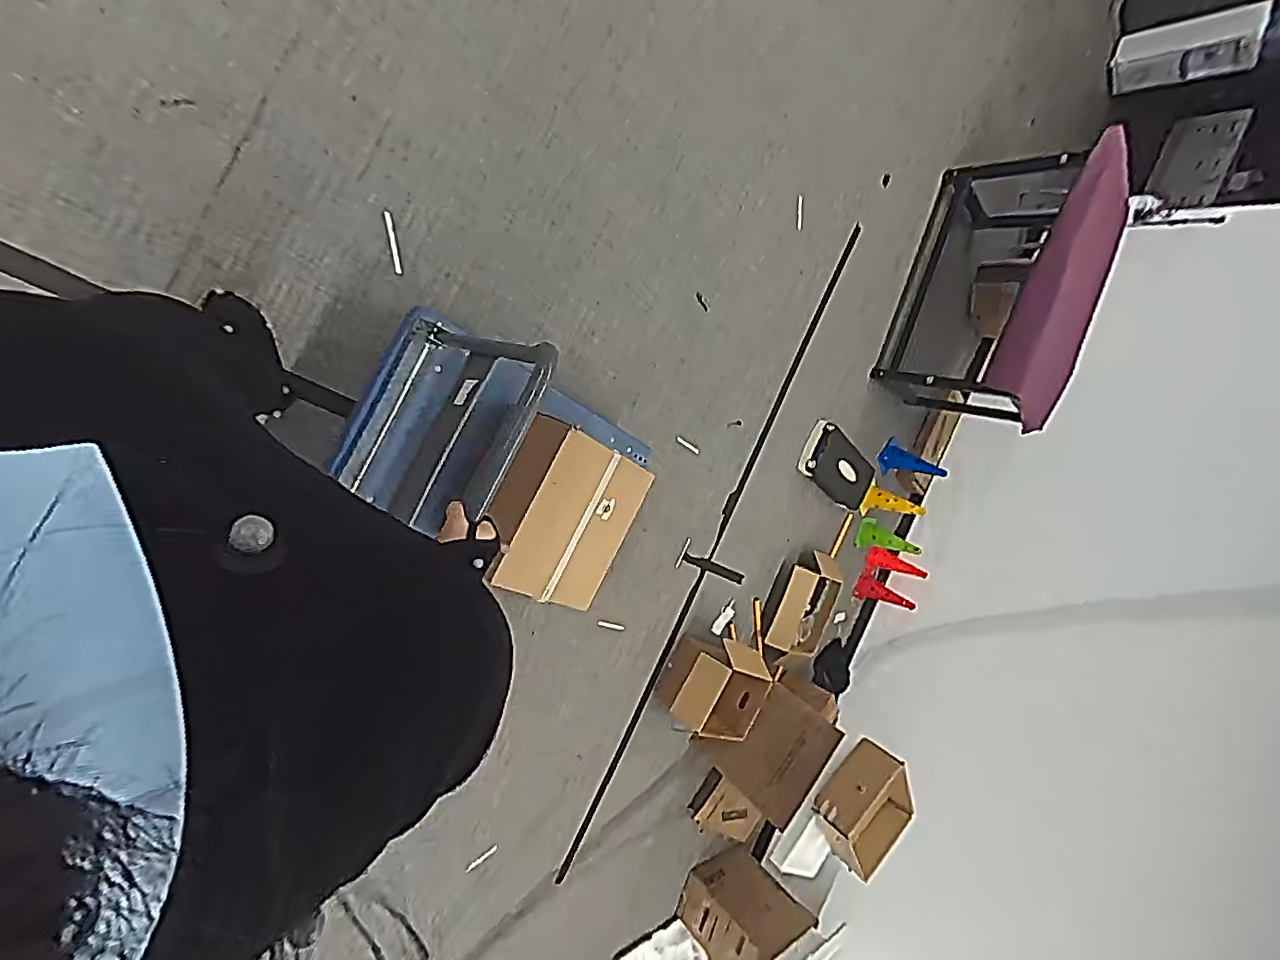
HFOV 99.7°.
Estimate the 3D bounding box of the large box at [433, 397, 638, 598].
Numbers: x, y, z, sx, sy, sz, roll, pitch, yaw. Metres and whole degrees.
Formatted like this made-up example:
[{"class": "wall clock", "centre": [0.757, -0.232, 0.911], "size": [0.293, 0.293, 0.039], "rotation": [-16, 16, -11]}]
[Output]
[{"class": "large box", "centre": [-0.280, 0.043, 1.433], "size": [0.320, 0.320, 0.408], "rotation": [30, 84, -44]}]
